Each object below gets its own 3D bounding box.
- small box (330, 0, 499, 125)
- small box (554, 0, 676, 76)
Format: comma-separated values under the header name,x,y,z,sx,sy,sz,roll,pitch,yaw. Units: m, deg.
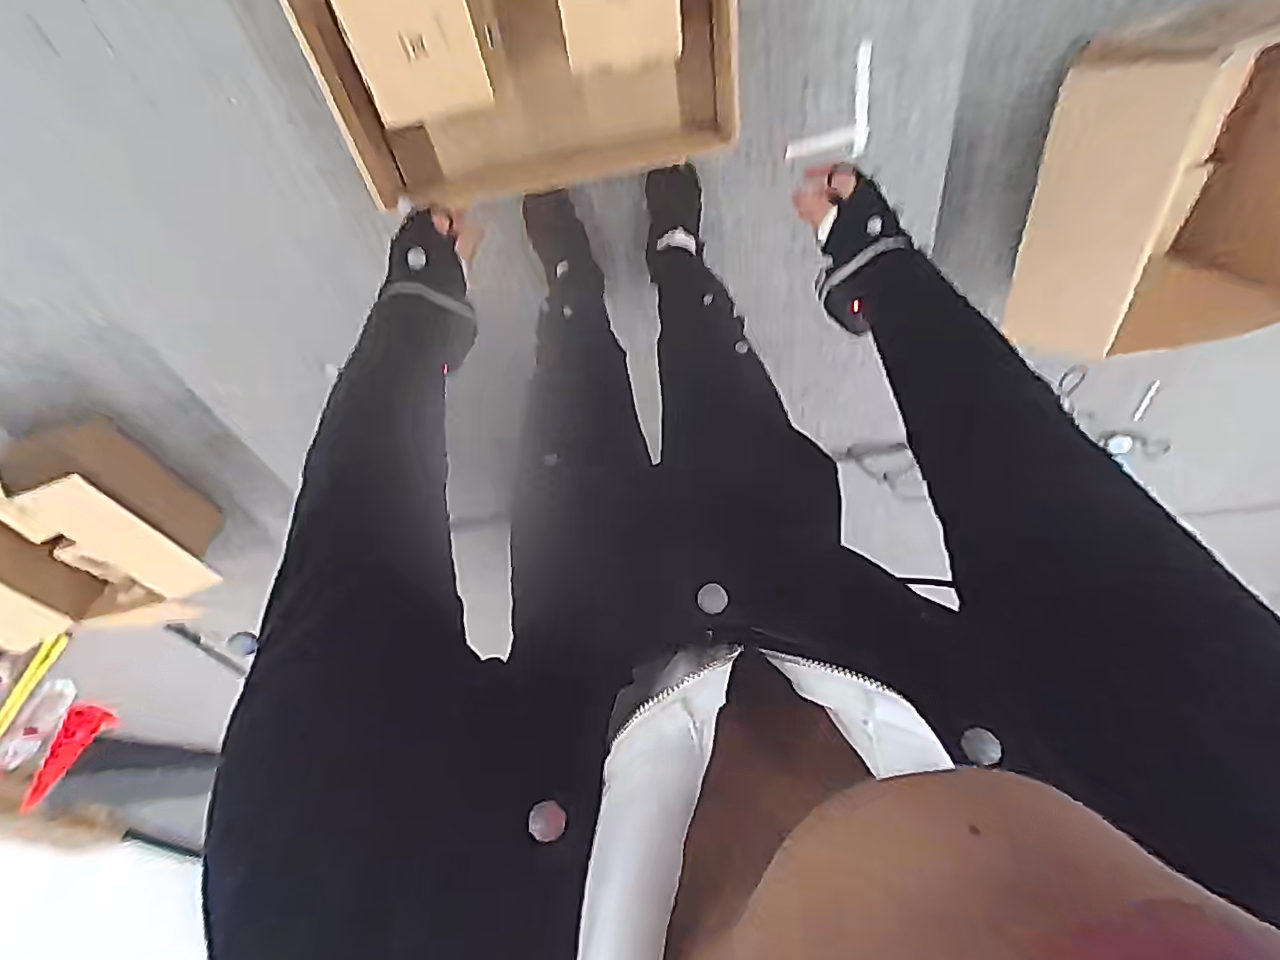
name,x,y,z,sx,sy,sz,roll,pitch,yaw
small box,-0.324,-0.664,0.813,0.179,0.176,0.168,-13,136,2
small box,-0.041,-0.721,0.785,0.168,0.176,0.179,-8,135,3
